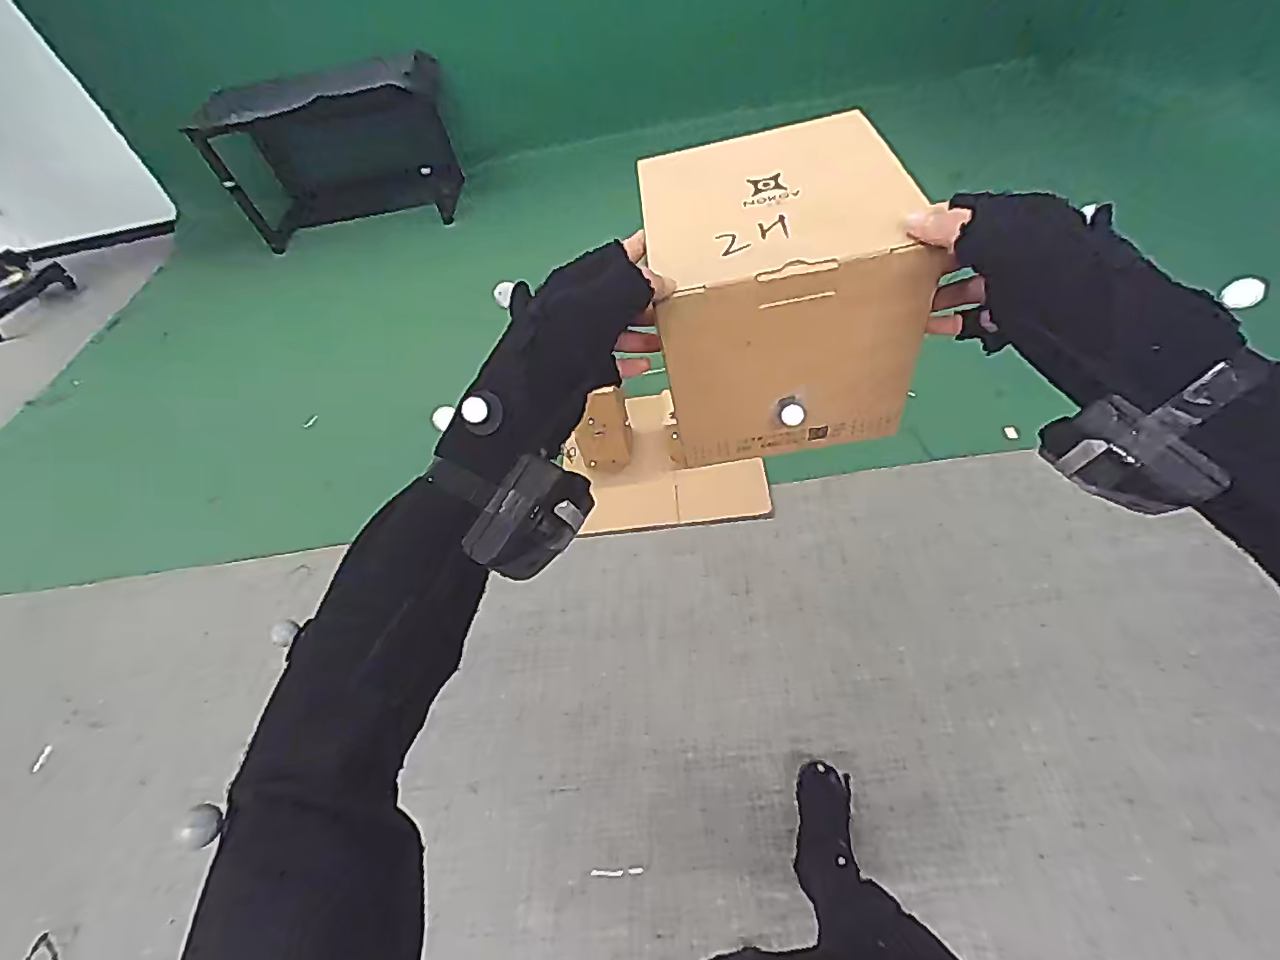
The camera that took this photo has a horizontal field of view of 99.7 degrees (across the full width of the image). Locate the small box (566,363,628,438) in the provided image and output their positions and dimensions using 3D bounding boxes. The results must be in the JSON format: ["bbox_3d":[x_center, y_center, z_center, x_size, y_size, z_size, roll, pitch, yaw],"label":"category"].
[{"bbox_3d":[-0.136,-0.263,1.789,0.168,0.176,0.179,-5,51,8],"label":"small box"}]

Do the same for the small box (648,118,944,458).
[{"bbox_3d":[0.102,-0.142,0.423,0.168,0.176,0.179,-9,52,8],"label":"small box"}]

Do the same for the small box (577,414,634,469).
[{"bbox_3d":[-0.115,-0.151,1.906,0.168,0.176,0.179,-6,49,8],"label":"small box"}]
